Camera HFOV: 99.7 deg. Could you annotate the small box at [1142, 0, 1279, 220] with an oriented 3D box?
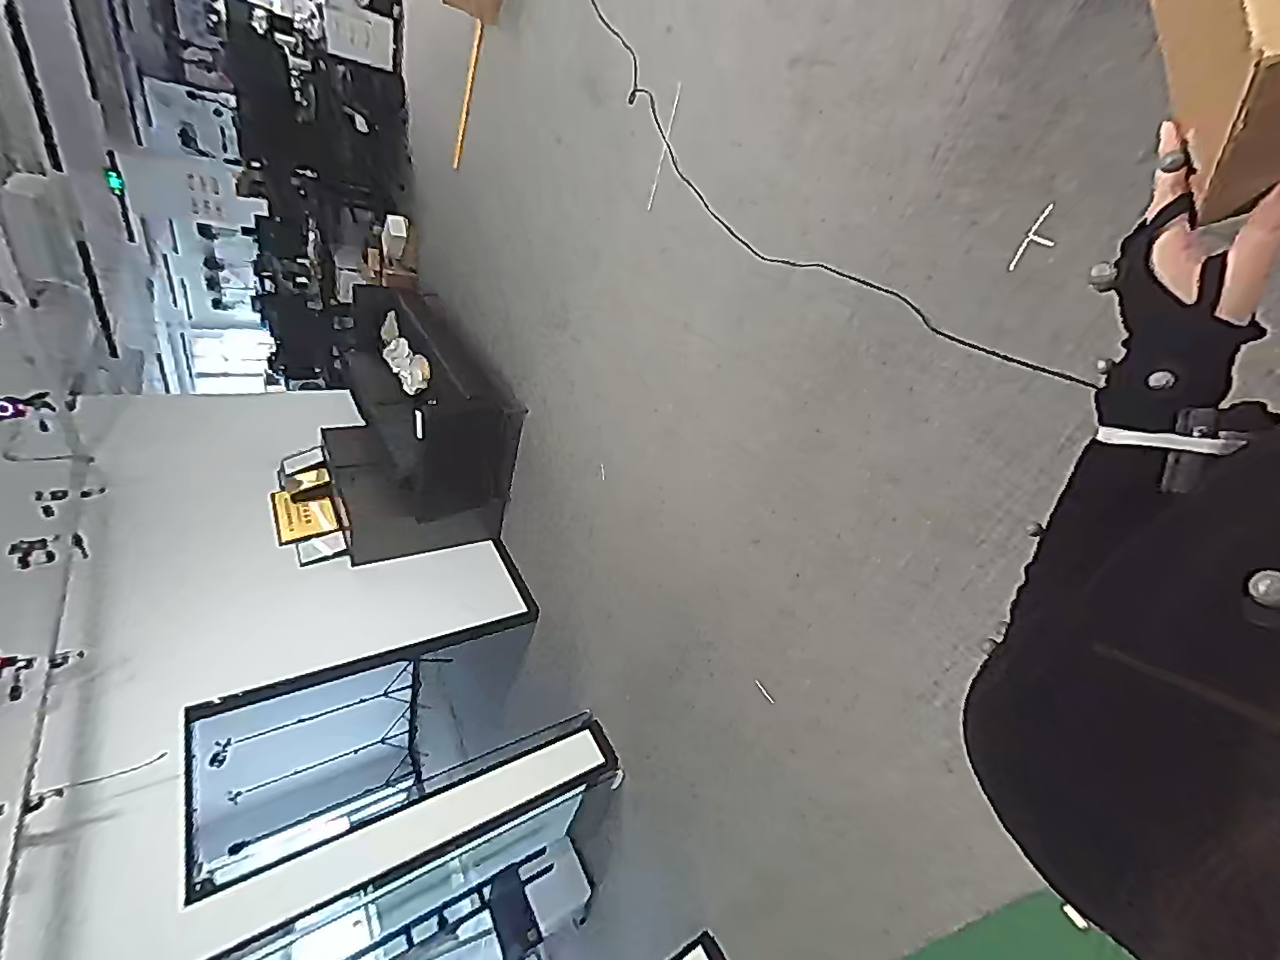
[{"bbox_3d":[0.346,-0.258,0.238,0.168,0.179,0.176,-9,85,39],"label":"small box"}]
